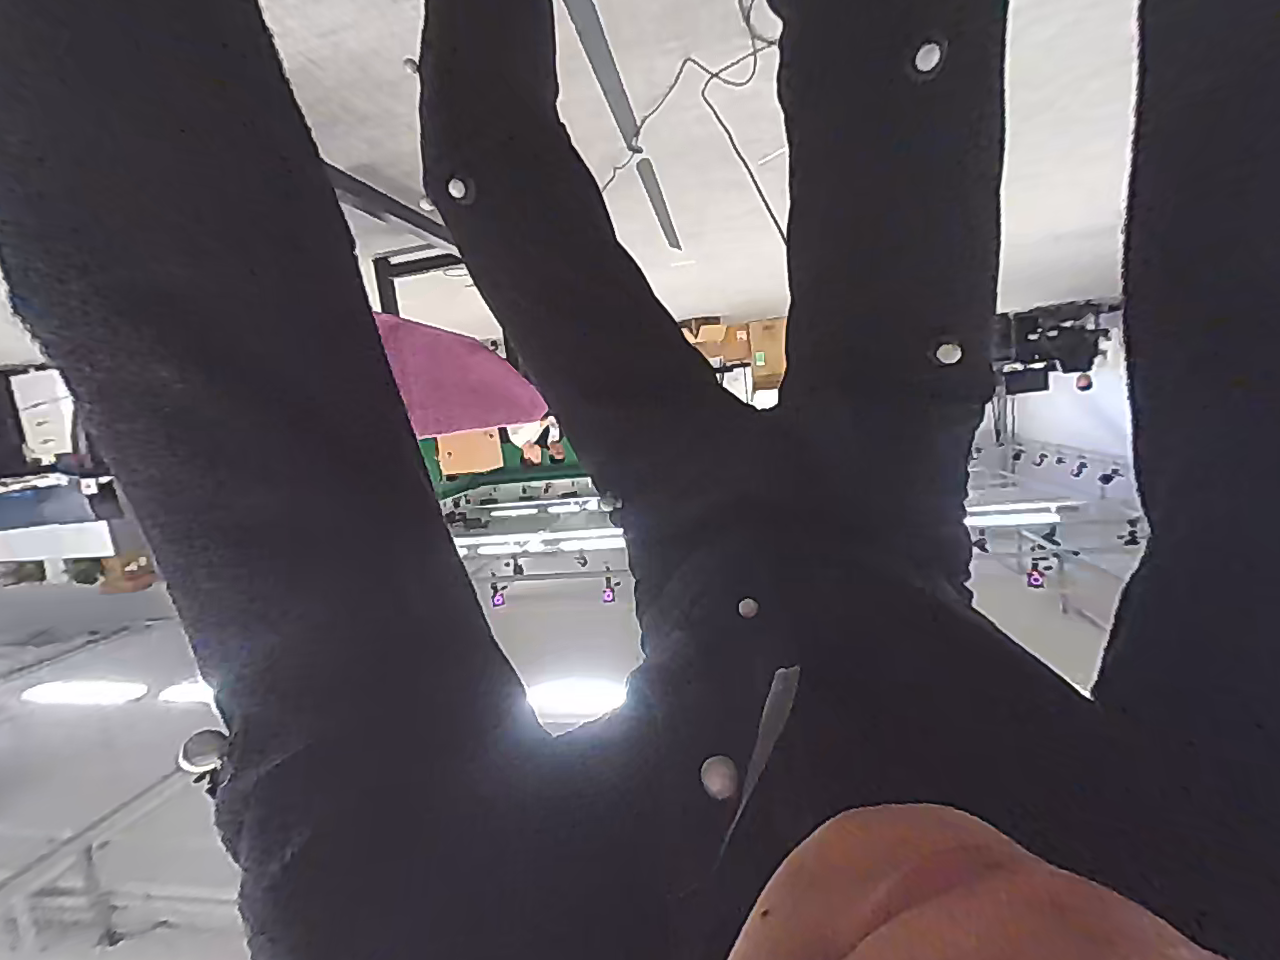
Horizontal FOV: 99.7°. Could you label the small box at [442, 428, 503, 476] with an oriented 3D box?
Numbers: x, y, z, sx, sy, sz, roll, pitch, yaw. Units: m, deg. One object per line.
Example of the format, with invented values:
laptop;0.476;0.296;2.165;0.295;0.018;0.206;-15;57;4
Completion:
small box;-0.665;-0.116;2.142;0.179;0.176;0.168;-5;-171;15
